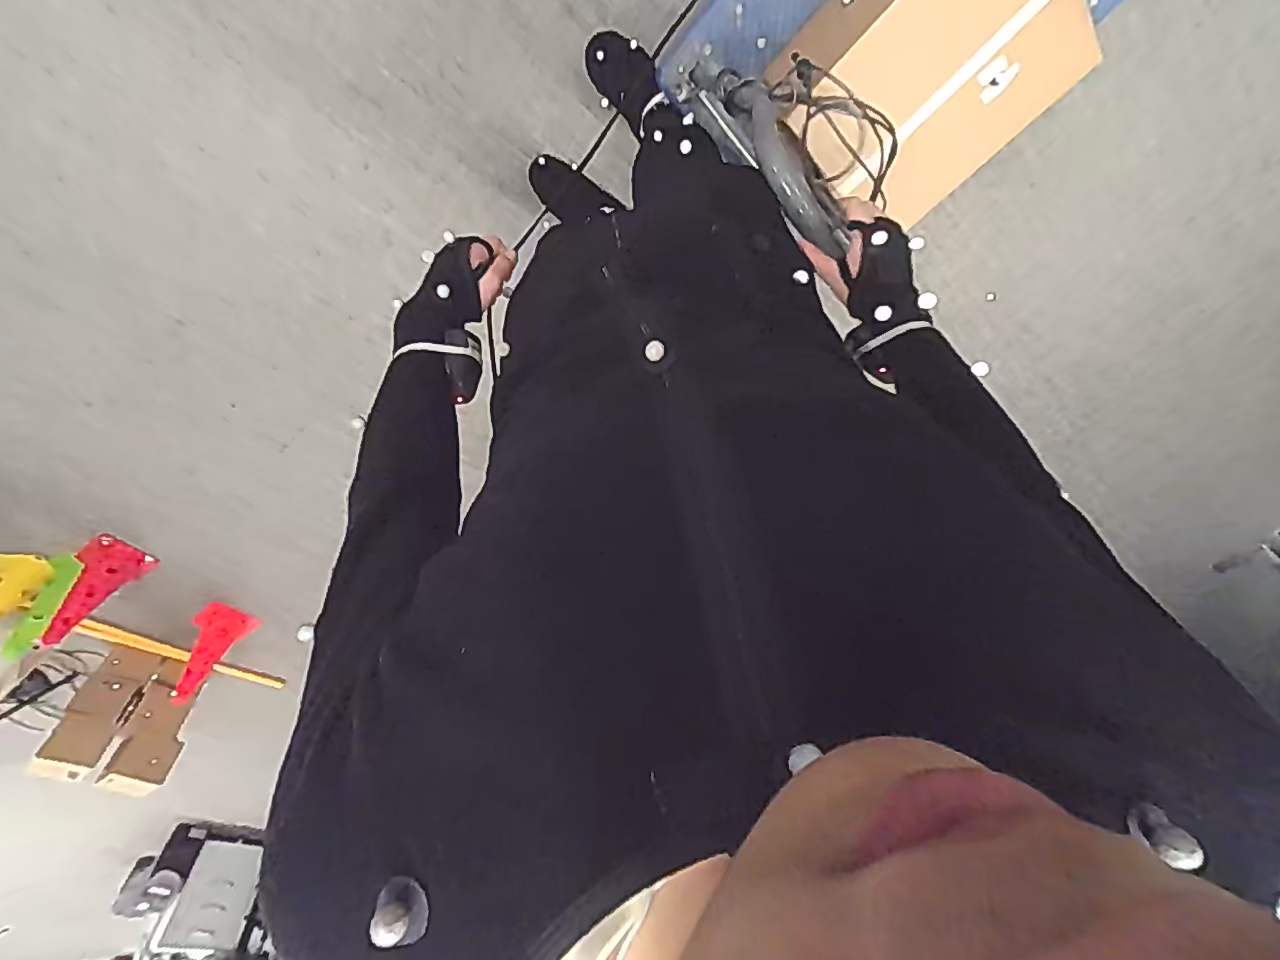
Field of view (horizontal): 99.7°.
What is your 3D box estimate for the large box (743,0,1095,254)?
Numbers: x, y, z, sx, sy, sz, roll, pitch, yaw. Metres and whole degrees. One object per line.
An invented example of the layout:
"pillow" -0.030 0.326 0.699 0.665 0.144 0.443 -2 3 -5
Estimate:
"large box" 0.460 -0.705 0.974 0.320 0.320 0.408 34 117 -29
